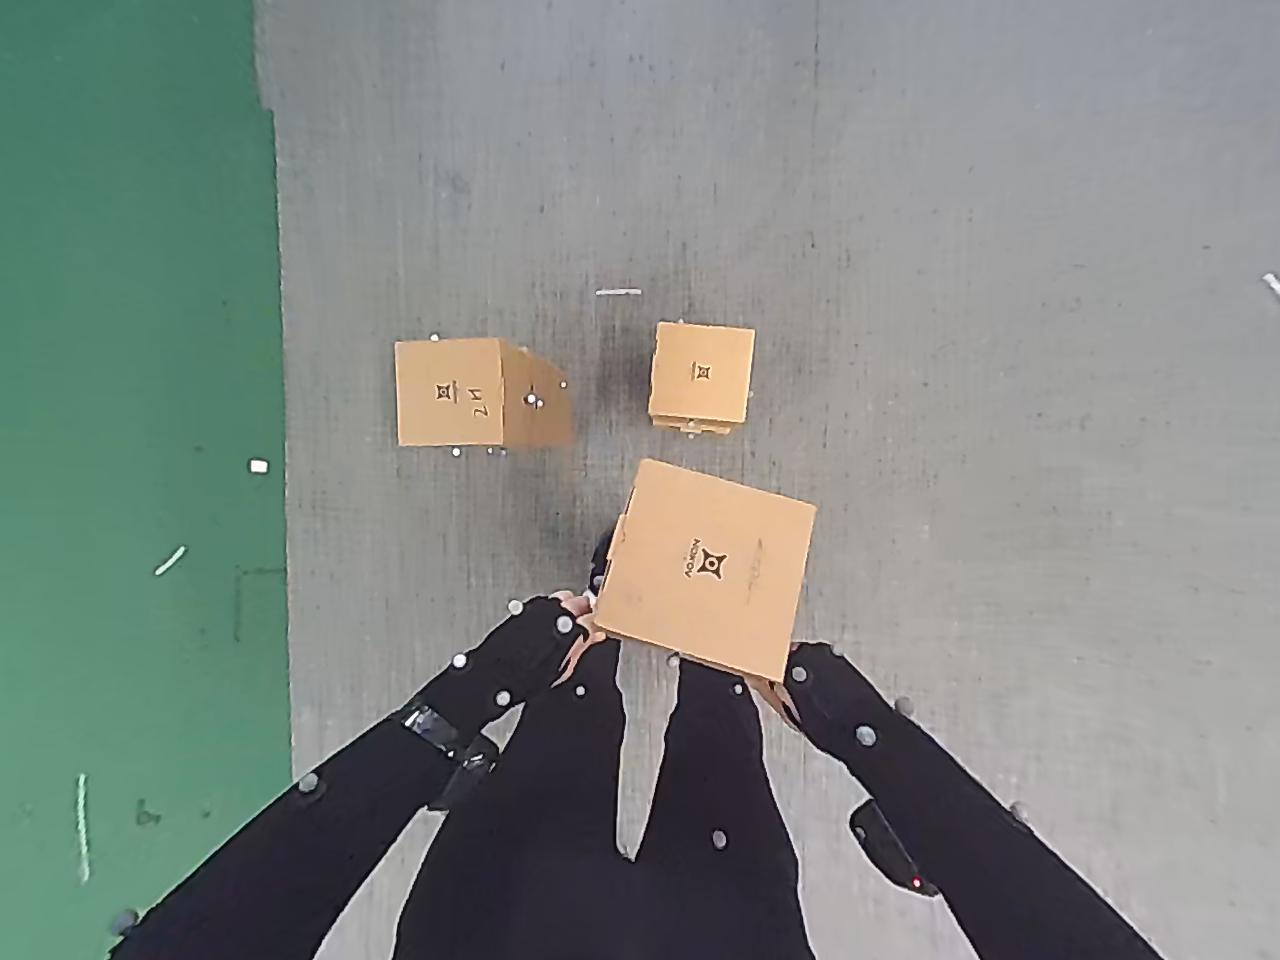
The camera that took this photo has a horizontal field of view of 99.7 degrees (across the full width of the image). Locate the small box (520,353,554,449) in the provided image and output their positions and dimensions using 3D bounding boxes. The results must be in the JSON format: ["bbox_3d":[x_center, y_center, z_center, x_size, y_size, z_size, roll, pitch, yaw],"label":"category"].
[{"bbox_3d":[-0.274,-0.149,1.089,0.168,0.176,0.179,-1,91,6],"label":"small box"}]

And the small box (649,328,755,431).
[{"bbox_3d":[0.118,-0.186,1.046,0.179,0.176,0.168,6,92,7],"label":"small box"}]

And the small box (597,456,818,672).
[{"bbox_3d":[0.064,0.098,0.577,0.179,0.176,0.168,16,72,3],"label":"small box"}]

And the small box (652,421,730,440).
[{"bbox_3d":[0.126,-0.184,1.209,0.168,0.176,0.179,8,94,5],"label":"small box"}]

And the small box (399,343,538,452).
[{"bbox_3d":[-0.285,-0.132,0.924,0.179,0.176,0.168,0,92,6],"label":"small box"}]
